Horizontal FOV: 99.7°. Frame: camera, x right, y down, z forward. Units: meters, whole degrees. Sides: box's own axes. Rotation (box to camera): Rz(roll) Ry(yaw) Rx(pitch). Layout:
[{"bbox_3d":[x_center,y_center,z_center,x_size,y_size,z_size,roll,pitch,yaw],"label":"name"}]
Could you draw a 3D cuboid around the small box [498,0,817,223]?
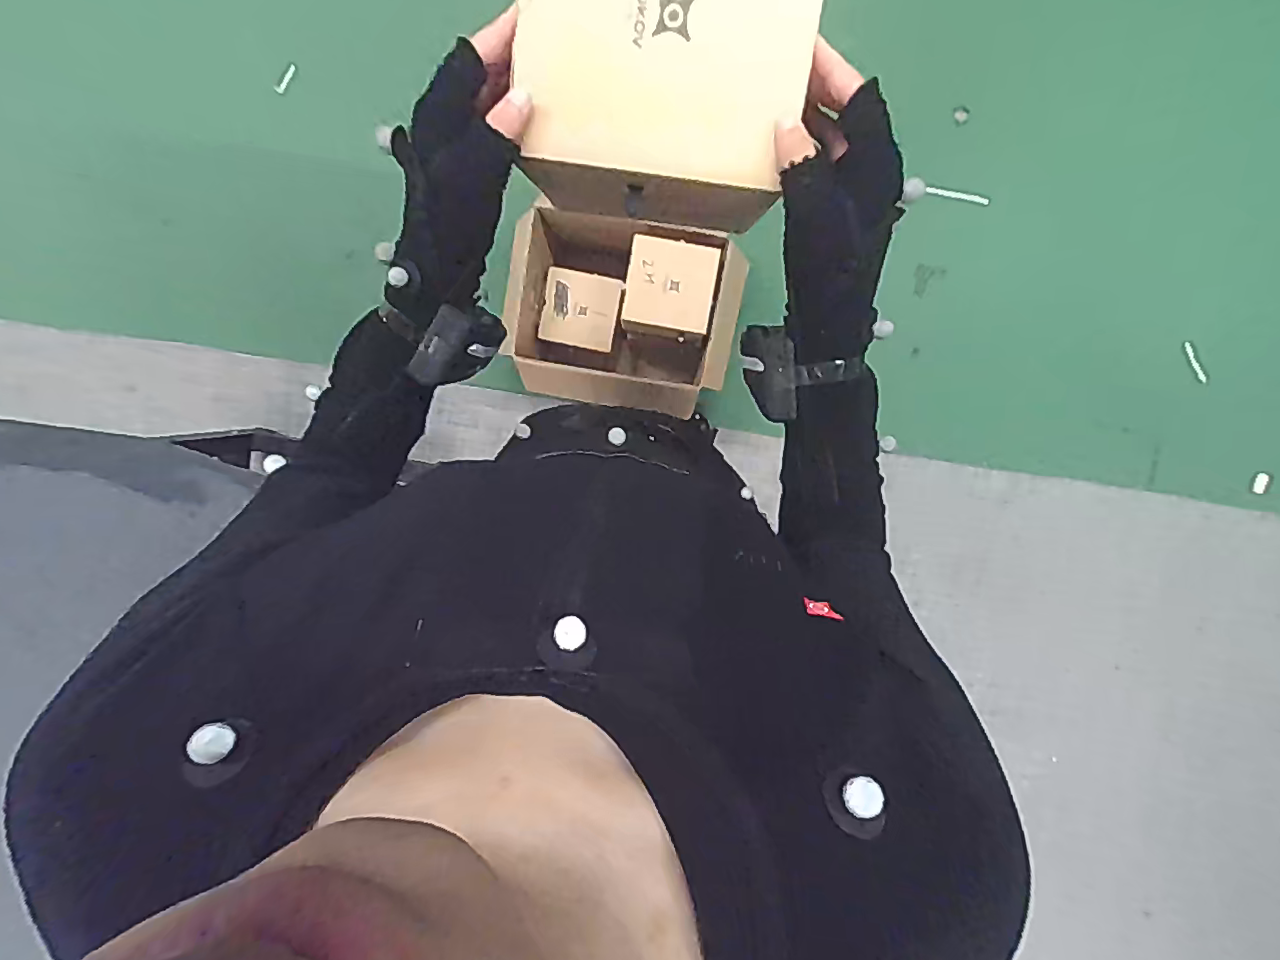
[{"bbox_3d":[0.014,-0.288,0.378,0.179,0.176,0.168,8,107,1],"label":"small box"}]
